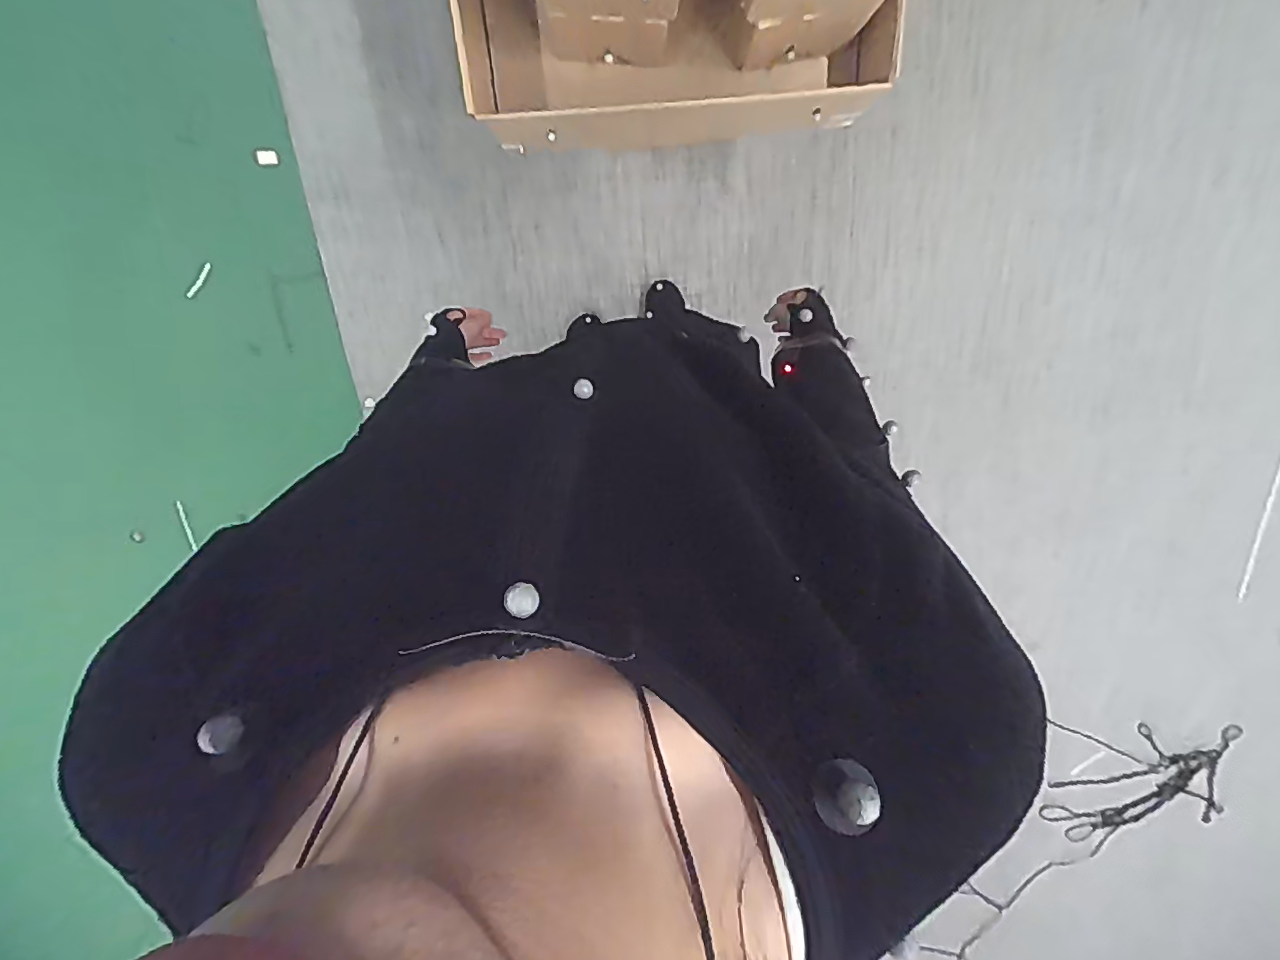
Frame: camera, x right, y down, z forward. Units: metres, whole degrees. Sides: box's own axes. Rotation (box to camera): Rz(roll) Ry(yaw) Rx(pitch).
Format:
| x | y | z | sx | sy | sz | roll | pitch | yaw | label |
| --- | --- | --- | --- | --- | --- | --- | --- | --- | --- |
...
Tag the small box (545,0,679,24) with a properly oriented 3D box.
| x | y | z | sx | sy | sz | roll | pitch | yaw | label |
| --- | --- | --- | --- | --- | --- | --- | --- | --- | --- |
| -0.030 | -0.655 | 0.612 | 0.179 | 0.176 | 0.168 | 3 | 109 | -1 | small box |
